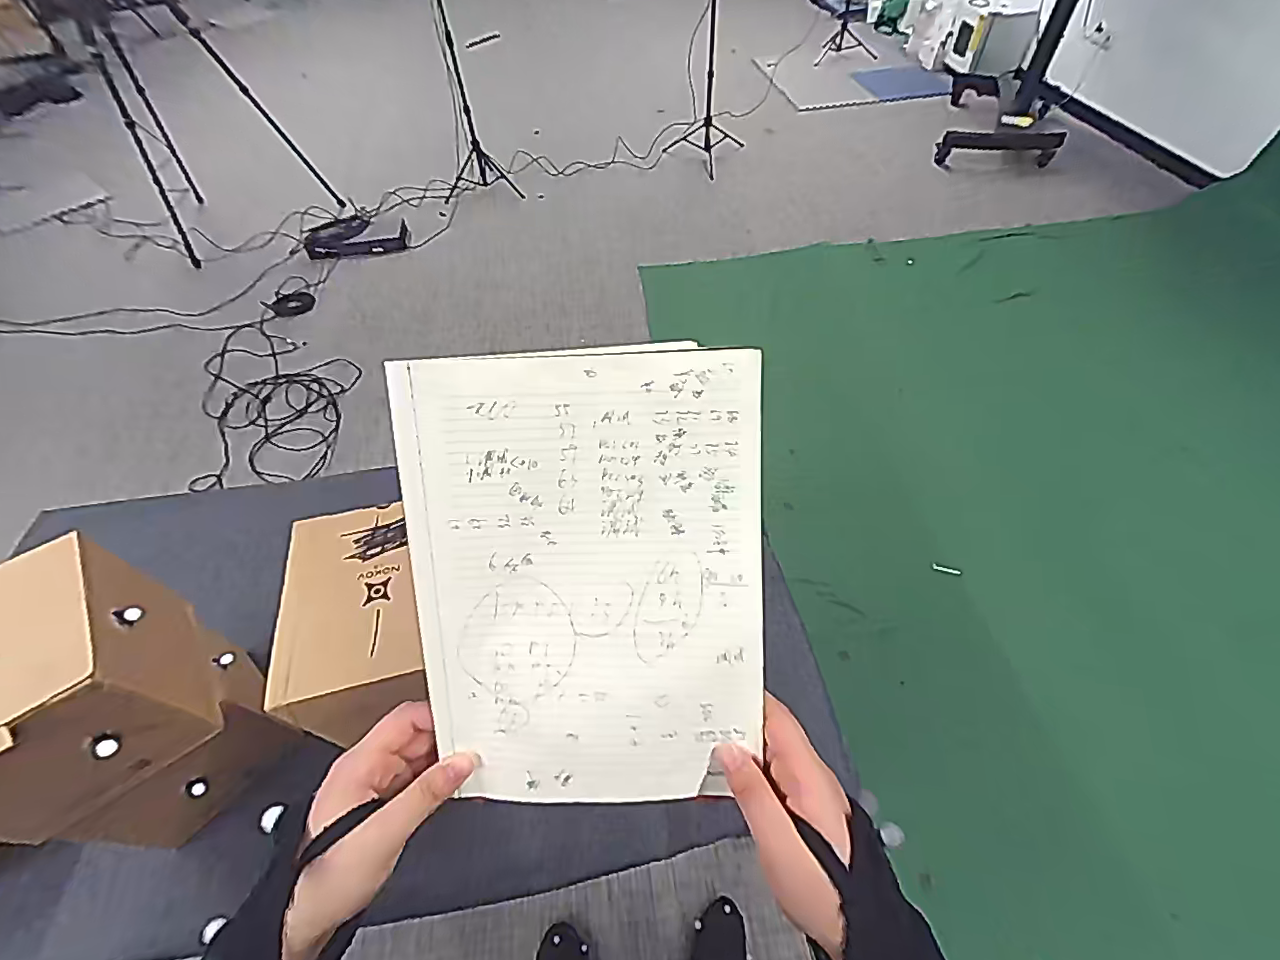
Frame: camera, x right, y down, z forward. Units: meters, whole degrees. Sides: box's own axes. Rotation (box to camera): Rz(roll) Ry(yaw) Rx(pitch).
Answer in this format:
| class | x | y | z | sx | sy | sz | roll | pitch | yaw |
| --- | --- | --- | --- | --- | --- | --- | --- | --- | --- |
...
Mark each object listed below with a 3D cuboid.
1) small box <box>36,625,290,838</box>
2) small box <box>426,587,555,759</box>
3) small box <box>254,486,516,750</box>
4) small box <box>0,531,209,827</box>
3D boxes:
| class | x | y | z | sx | sy | sz | roll | pitch | yaw |
| --- | --- | --- | --- | --- | --- | --- | --- | --- | --- |
| small box | -0.559 | 0.282 | 0.631 | 0.179 | 0.176 | 0.168 | 34 | 60 | 24 |
| small box | -0.222 | 0.223 | 0.664 | 0.179 | 0.176 | 0.168 | 15 | 55 | 14 |
| small box | -0.224 | 0.135 | 0.524 | 0.168 | 0.176 | 0.179 | -12 | 53 | -6 |
| small box | -0.546 | 0.187 | 0.498 | 0.168 | 0.176 | 0.179 | -31 | 57 | -21 |
